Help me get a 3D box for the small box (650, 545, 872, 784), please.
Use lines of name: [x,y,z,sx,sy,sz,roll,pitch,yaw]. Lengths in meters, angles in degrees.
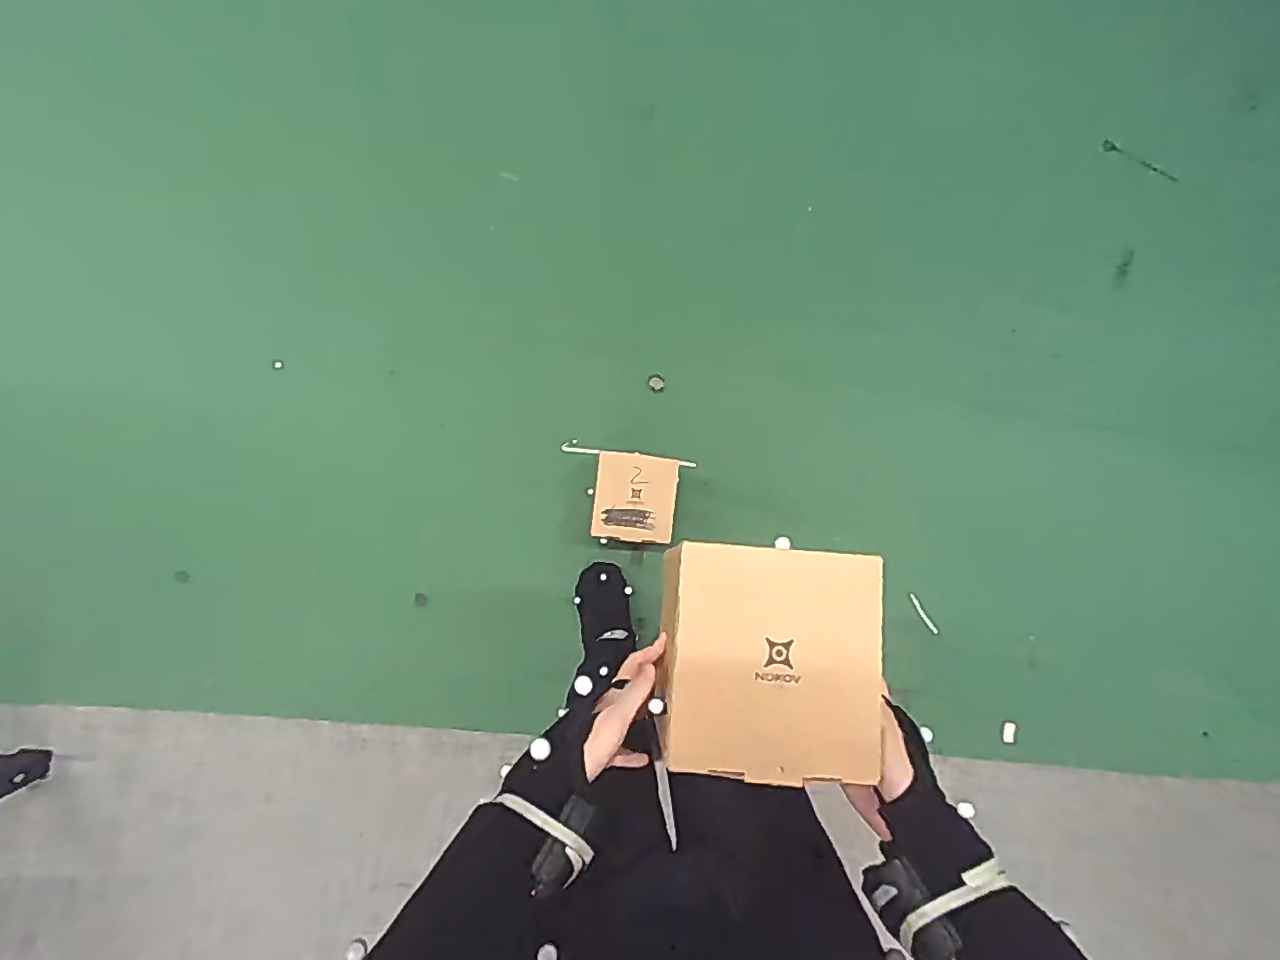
small box: [0.099,0.157,0.508,0.168,0.176,0.179,4,81,-2]
